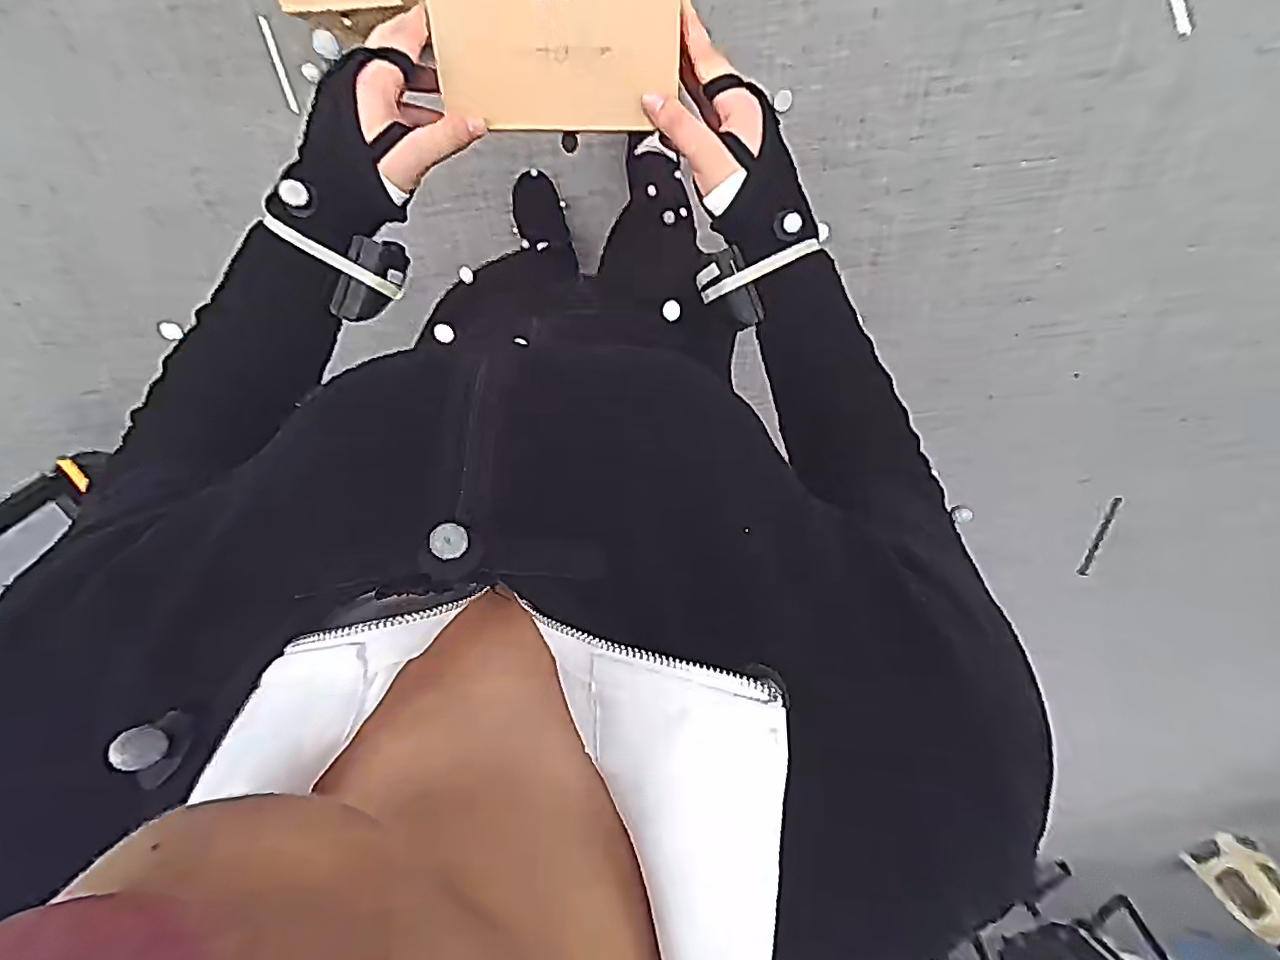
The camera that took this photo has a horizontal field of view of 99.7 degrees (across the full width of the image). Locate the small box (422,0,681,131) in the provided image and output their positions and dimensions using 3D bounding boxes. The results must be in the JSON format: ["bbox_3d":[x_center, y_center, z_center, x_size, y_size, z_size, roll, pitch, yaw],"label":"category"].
[{"bbox_3d":[-0.055,-0.362,0.395,0.168,0.176,0.179,1,123,1],"label":"small box"}]

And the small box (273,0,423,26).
[{"bbox_3d":[-0.443,-0.789,0.798,0.179,0.176,0.168,-4,124,-2],"label":"small box"}]

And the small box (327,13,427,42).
[{"bbox_3d":[-0.454,-0.877,0.938,0.168,0.176,0.179,-4,125,-1],"label":"small box"}]
